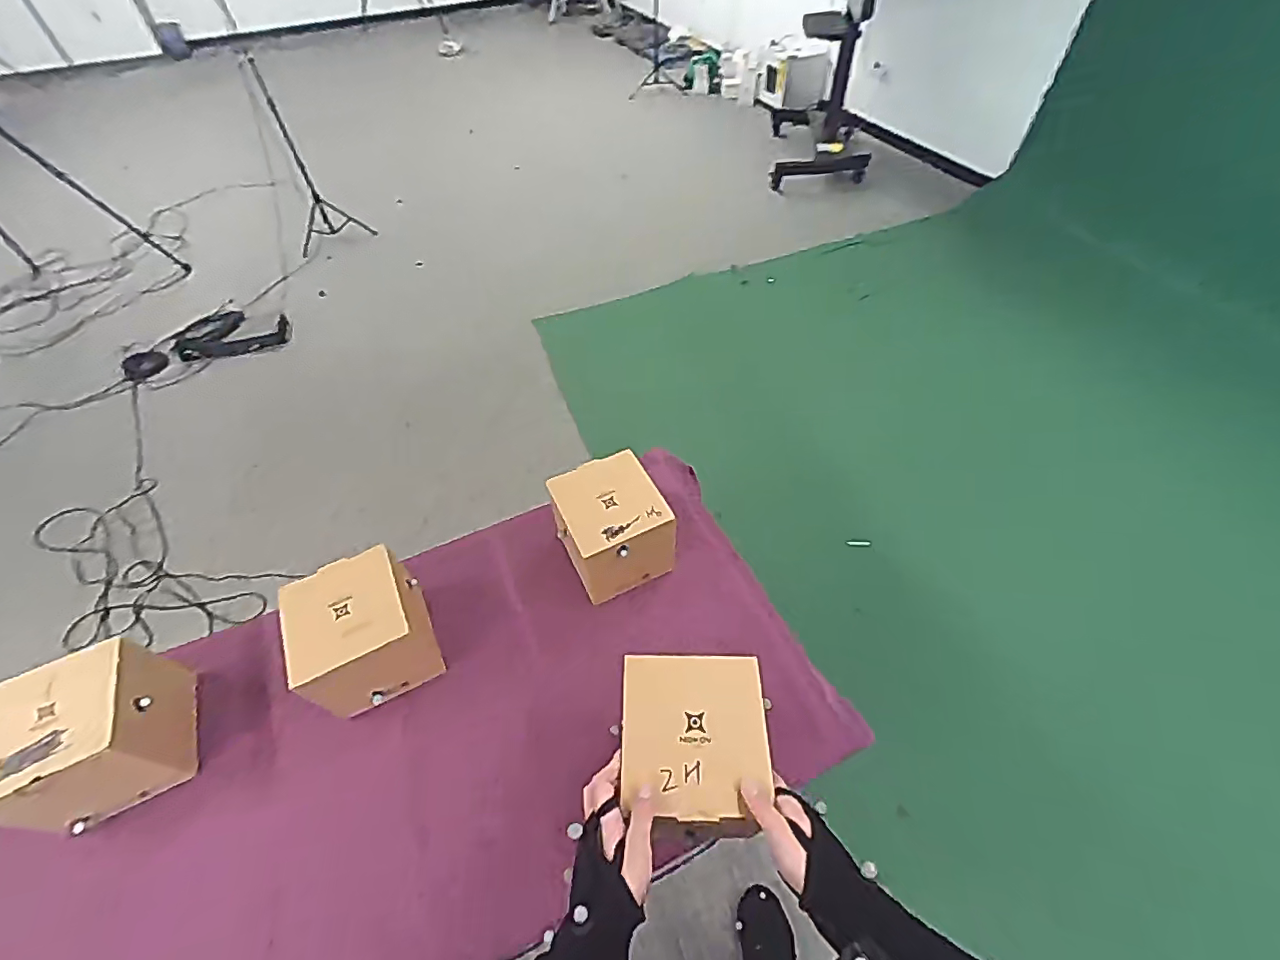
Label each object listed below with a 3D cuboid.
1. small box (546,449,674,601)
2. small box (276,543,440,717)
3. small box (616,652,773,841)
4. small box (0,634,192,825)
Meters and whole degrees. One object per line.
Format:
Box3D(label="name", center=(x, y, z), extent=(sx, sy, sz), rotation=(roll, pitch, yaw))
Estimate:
Box3D(label="small box", center=(-0.052, 0.082, 0.963), extent=(0.168, 0.176, 0.179), rotation=(-23, 53, -14))
Box3D(label="small box", center=(-0.438, 0.238, 0.853), extent=(0.168, 0.176, 0.179), rotation=(-24, 54, -15))
Box3D(label="small box", center=(0.059, 0.330, 0.668), extent=(0.168, 0.176, 0.179), rotation=(1, 52, 2))
Box3D(label="small box", center=(-0.777, 0.358, 0.765), extent=(0.168, 0.176, 0.179), rotation=(-23, 53, -17))
